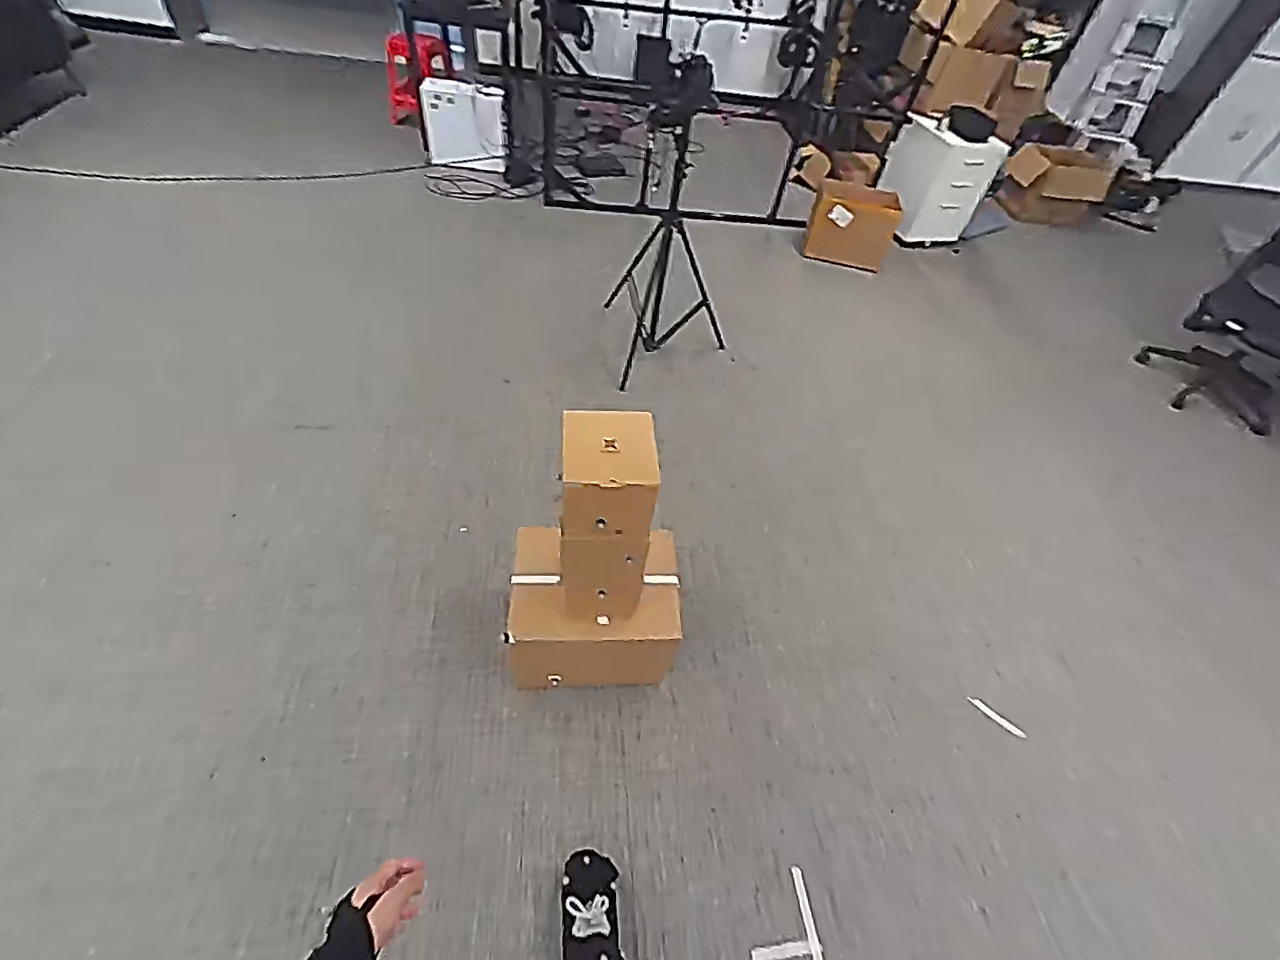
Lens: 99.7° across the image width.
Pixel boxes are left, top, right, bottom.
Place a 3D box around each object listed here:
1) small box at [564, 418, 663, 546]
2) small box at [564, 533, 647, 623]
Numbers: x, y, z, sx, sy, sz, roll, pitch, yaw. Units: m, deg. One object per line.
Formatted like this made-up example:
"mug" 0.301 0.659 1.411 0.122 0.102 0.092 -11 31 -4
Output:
"small box" -0.058 0.005 1.012 0.168 0.176 0.179 0 51 -9
"small box" -0.087 0.221 1.256 0.179 0.176 0.168 0 51 -10
